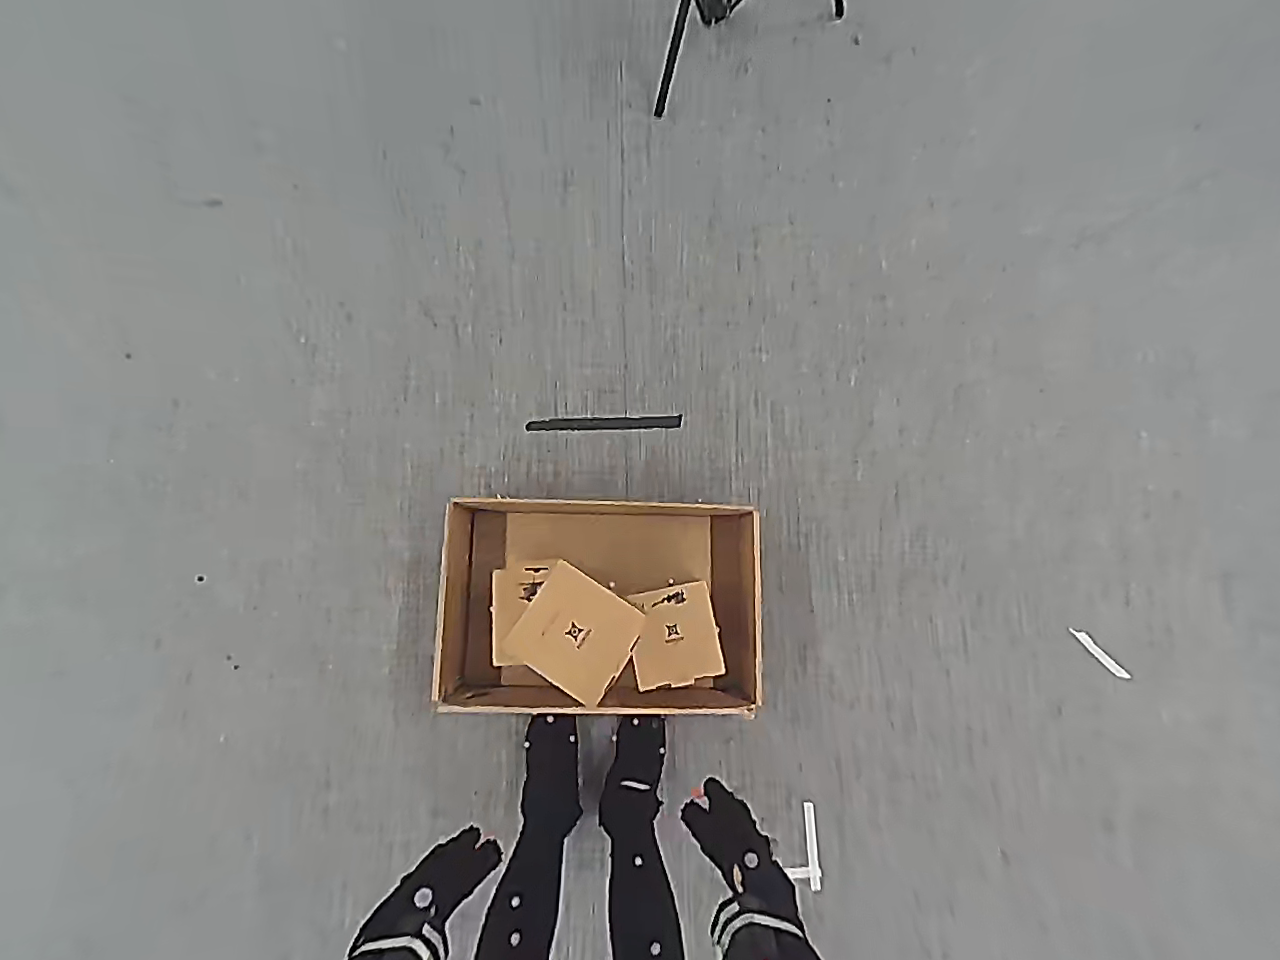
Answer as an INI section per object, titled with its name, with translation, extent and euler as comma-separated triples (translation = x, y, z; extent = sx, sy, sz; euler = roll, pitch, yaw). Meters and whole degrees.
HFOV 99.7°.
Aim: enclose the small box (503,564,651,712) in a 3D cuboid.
[small box]
translation = -0.100, 0.257, 0.919
extent = 0.179, 0.176, 0.168
euler = 32, 79, 4
